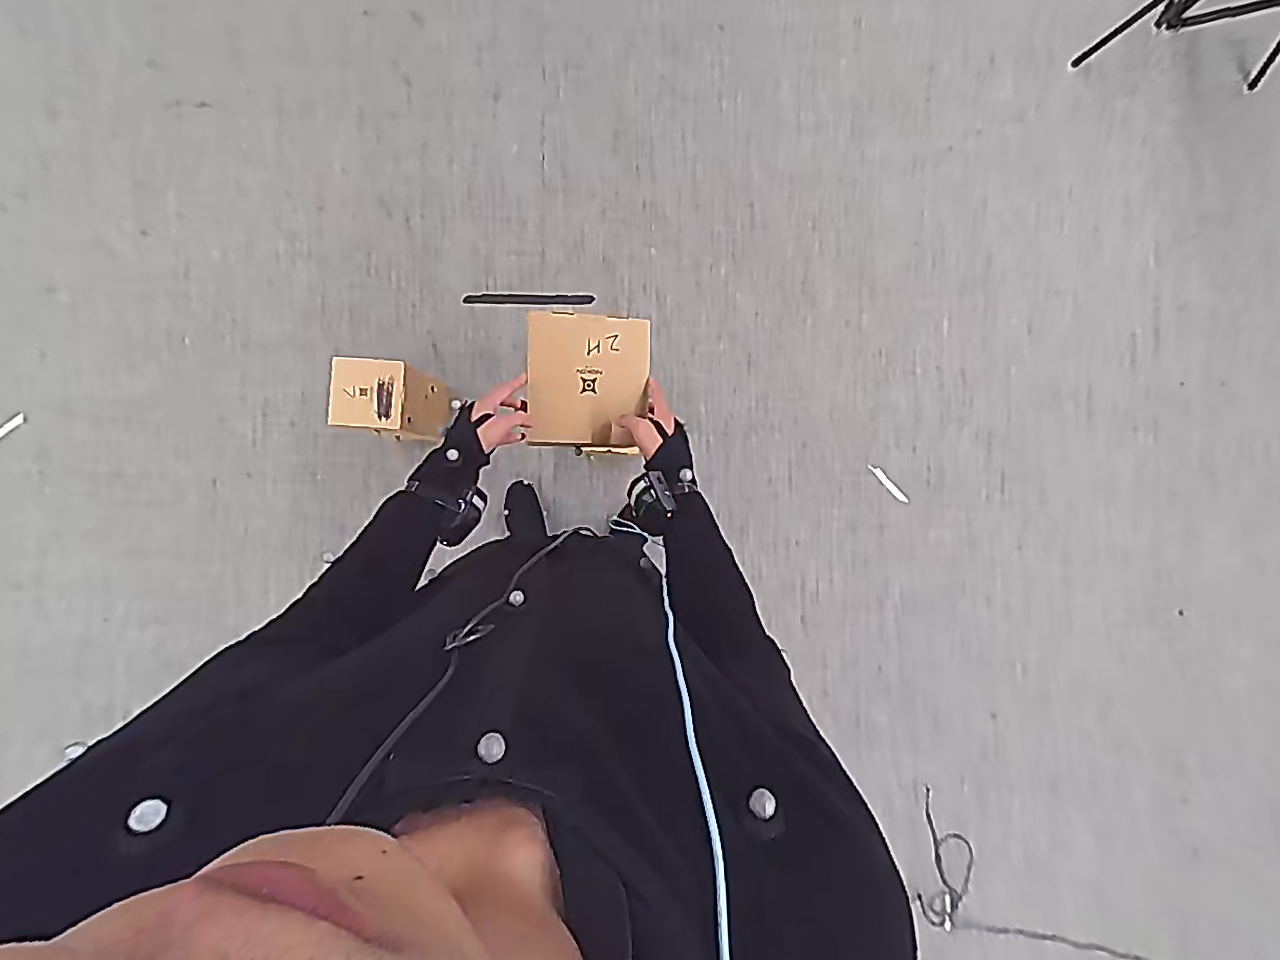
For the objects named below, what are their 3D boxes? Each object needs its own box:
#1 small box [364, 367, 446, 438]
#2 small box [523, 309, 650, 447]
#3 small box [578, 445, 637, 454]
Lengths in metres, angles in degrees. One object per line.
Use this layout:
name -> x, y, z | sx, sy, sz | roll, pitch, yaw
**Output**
small box -> -0.657, -0.213, 1.528 | 0.168, 0.176, 0.179 | 2, 89, -2
small box -> -0.085, -0.139, 0.799 | 0.168, 0.176, 0.179 | 1, 92, -12
small box -> -0.086, -0.168, 1.555 | 0.168, 0.176, 0.179 | 4, 89, -4
